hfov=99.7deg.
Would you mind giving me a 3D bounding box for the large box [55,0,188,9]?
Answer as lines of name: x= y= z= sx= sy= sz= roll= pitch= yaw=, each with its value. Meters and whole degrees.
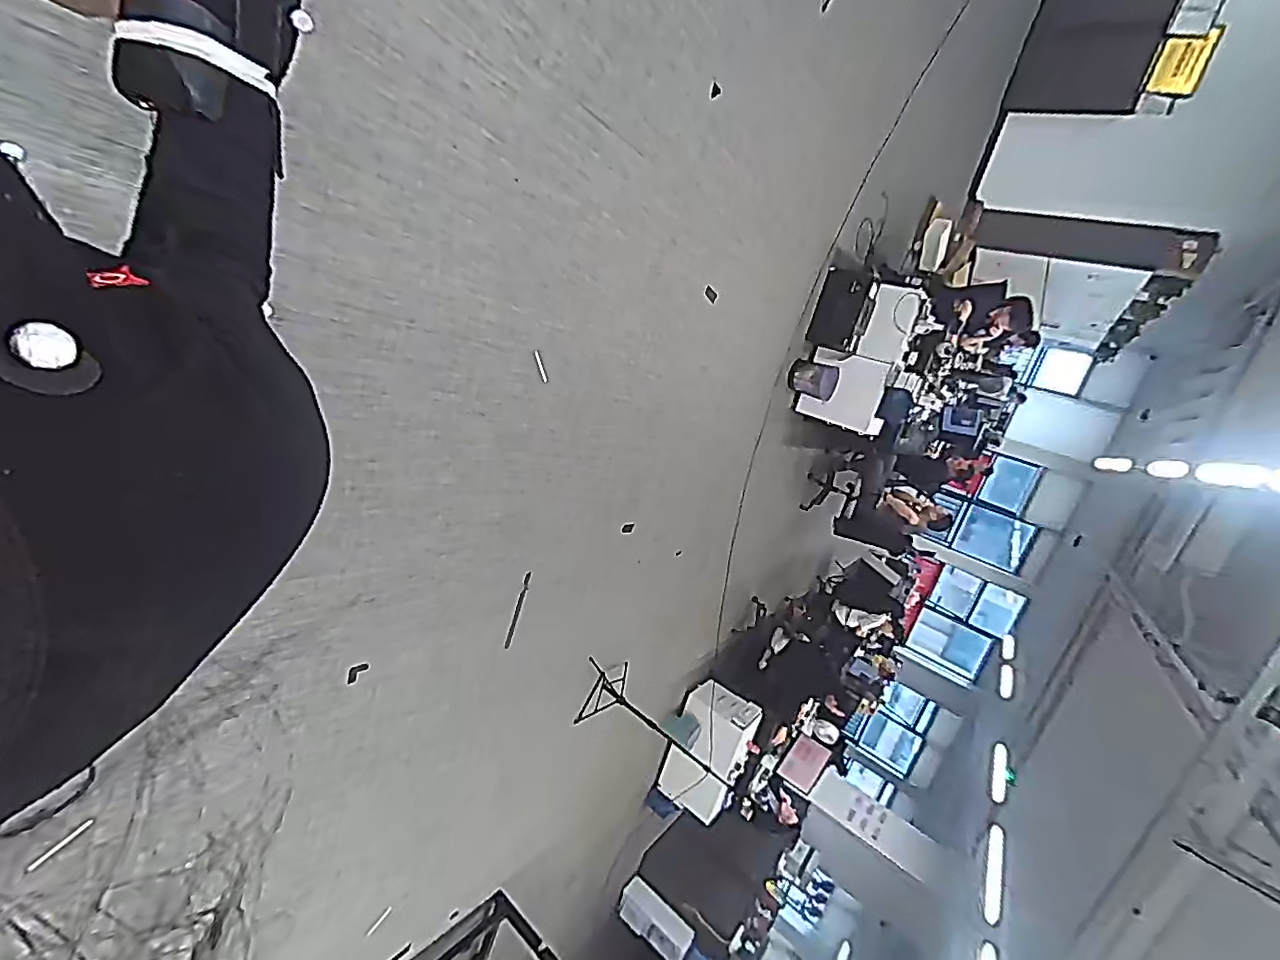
large box: x=-0.481 y=-0.510 z=0.237 sx=0.408 sy=0.320 sz=0.320 roll=-3 pitch=119 yaw=-56
